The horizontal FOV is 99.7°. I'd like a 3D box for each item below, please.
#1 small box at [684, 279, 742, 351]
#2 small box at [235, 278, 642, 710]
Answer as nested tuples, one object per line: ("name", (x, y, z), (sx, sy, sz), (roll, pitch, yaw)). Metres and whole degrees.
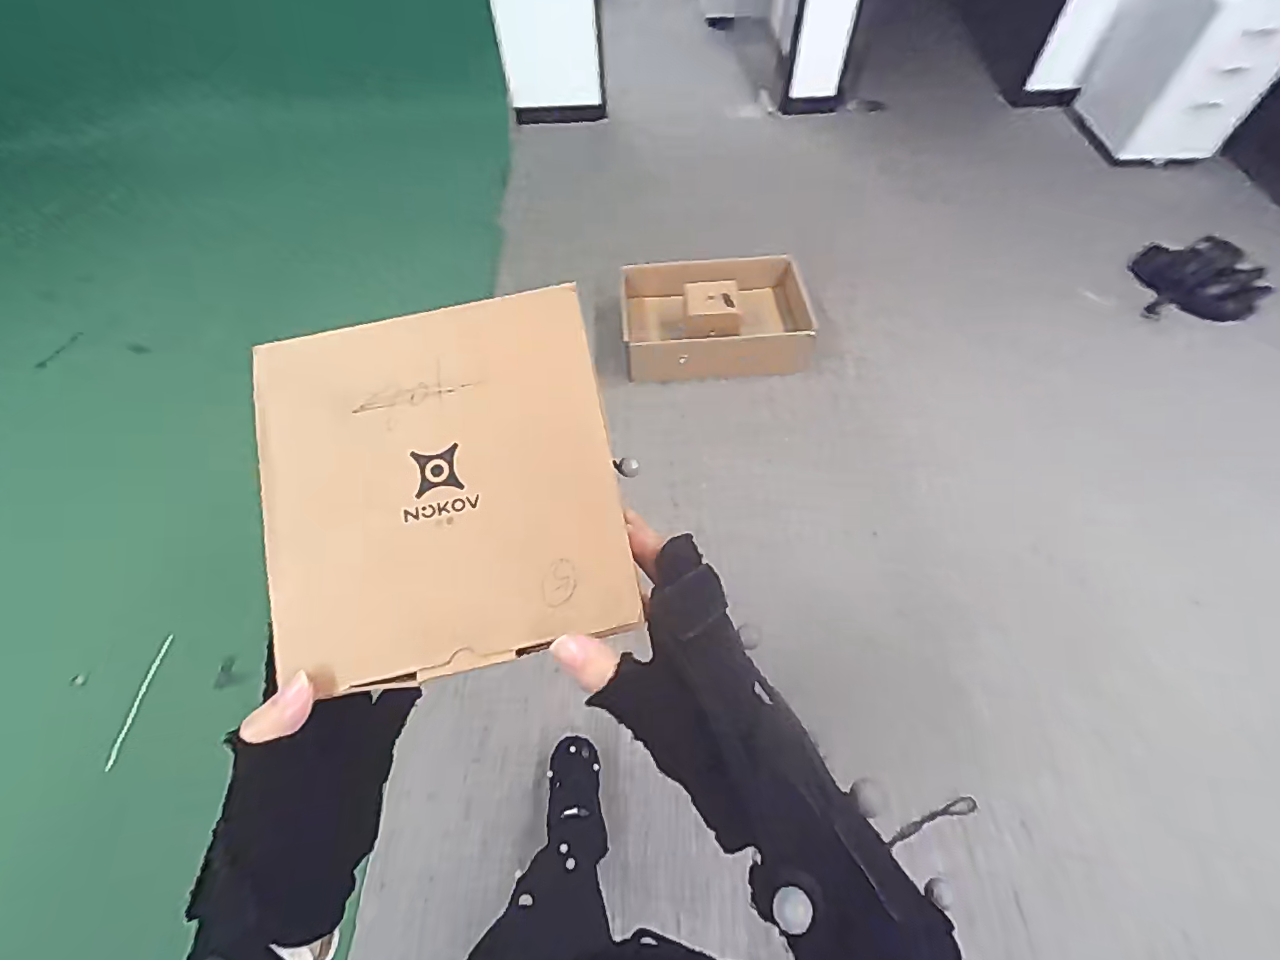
("small box", (0.243, -0.558, 1.840), (0.179, 0.176, 0.168), (-4, 57, 2))
("small box", (-0.098, 0.014, 0.335), (0.168, 0.176, 0.179), (-16, 80, -1))
